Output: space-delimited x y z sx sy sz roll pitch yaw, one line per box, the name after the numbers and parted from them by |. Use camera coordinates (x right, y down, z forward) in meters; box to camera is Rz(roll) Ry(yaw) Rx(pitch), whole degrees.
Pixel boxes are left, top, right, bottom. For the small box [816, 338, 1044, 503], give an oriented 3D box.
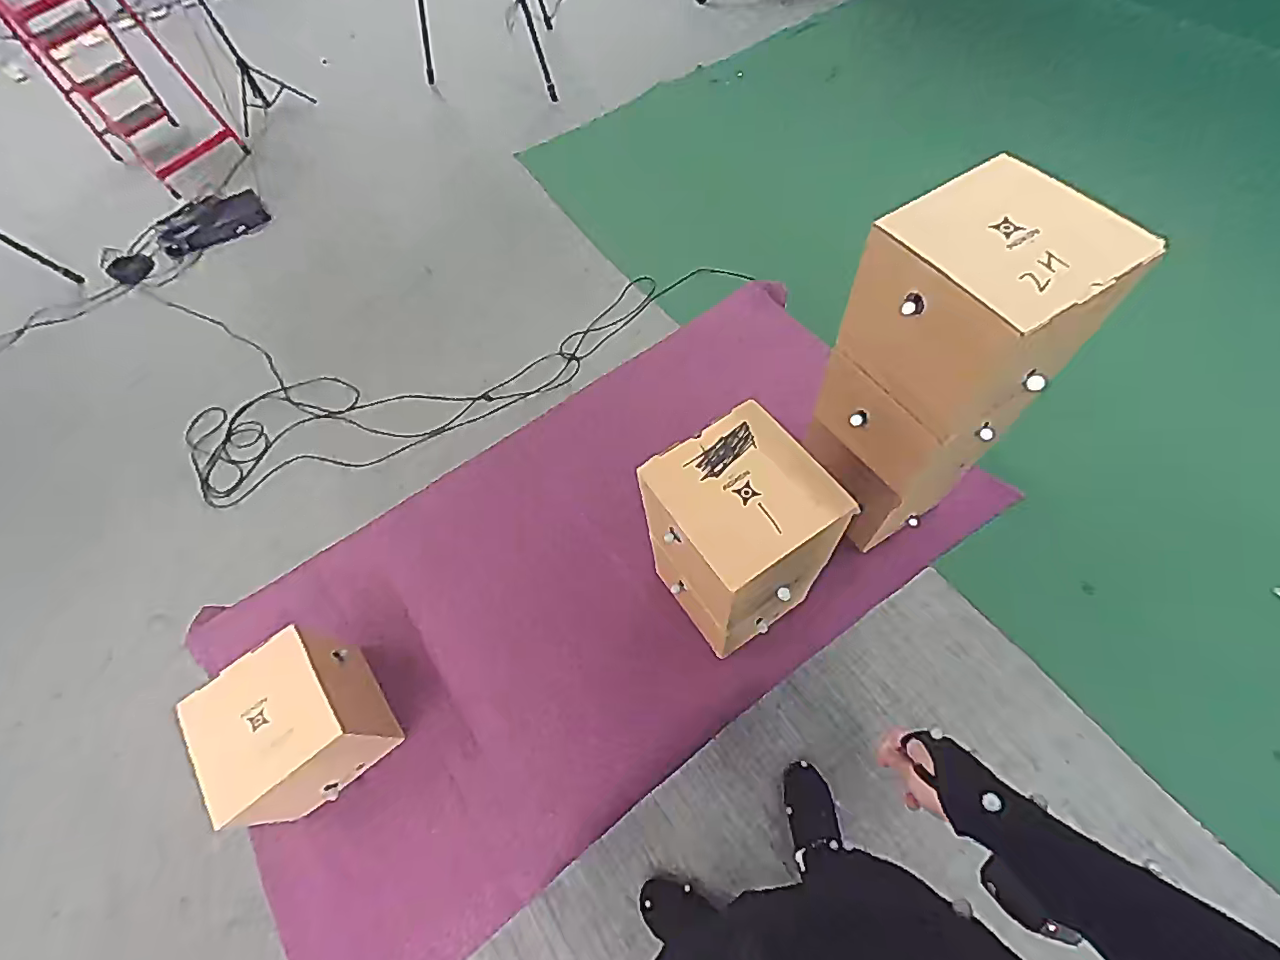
0.352 -0.102 0.694 0.168 0.176 0.179 -30 62 -9 | small box

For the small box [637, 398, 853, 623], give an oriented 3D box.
0.115 0.043 0.647 0.168 0.176 0.179 -32 63 -10 | small box

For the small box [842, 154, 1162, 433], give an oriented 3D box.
0.335 -0.181 0.549 0.168 0.176 0.179 -30 63 -8 | small box

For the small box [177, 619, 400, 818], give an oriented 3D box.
-0.470 0.325 0.744 0.168 0.176 0.179 -36 66 -12 | small box

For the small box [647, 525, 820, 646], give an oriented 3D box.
0.131 0.123 0.789 0.168 0.176 0.179 -32 62 -10 | small box
